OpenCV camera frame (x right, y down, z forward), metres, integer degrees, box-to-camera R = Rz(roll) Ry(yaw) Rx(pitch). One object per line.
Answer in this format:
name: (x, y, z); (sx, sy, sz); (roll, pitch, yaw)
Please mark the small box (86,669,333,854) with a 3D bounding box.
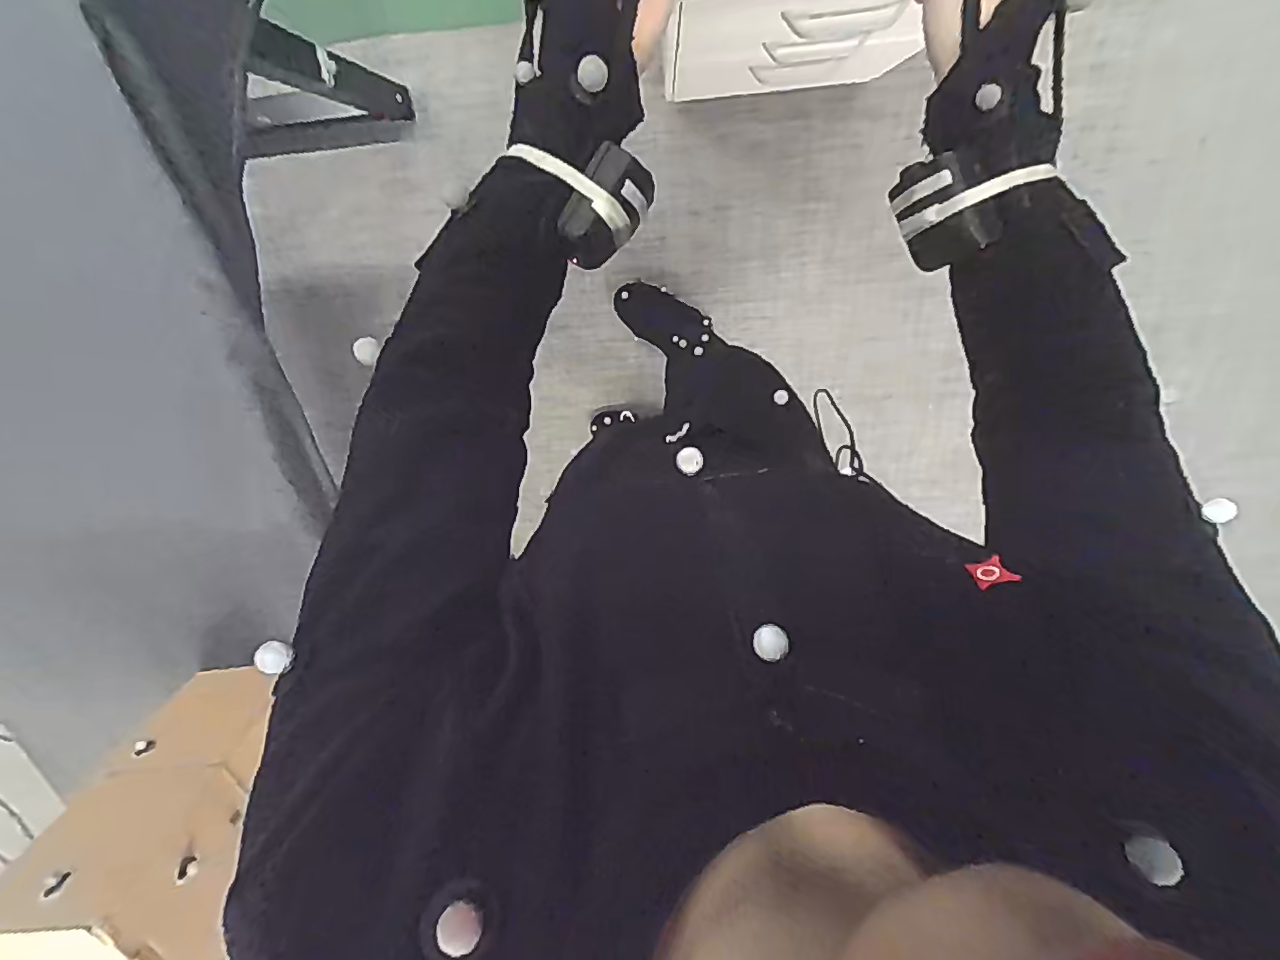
small box: (-0.555, 0.379, 0.735); (0.179, 0.176, 0.168); (-8, 116, 6)
